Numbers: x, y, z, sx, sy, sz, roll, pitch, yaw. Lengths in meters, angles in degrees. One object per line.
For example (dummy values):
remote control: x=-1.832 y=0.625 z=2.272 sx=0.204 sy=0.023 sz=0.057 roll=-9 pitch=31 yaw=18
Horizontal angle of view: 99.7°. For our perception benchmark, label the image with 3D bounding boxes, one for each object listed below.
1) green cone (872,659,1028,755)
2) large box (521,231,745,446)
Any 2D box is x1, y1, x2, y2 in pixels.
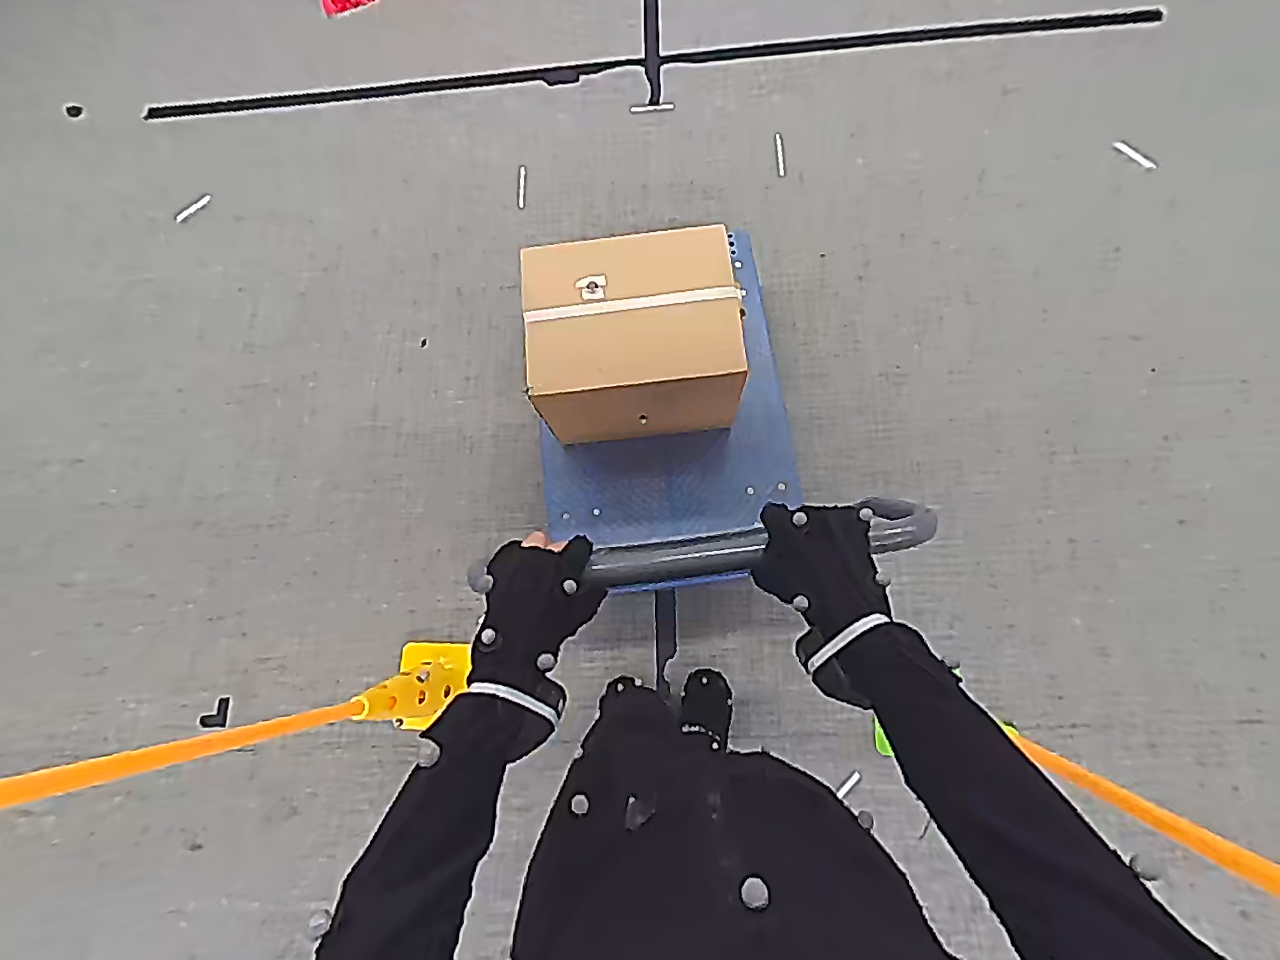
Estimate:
green cone: x=0.629 y=0.474 z=1.071 sx=0.202 sy=0.368 sz=0.200 roll=2 pitch=76 yaw=3
large box: x=-0.009 y=-0.279 z=1.165 sx=0.408 sy=0.320 sz=0.320 roll=-6 pitch=76 yaw=3
